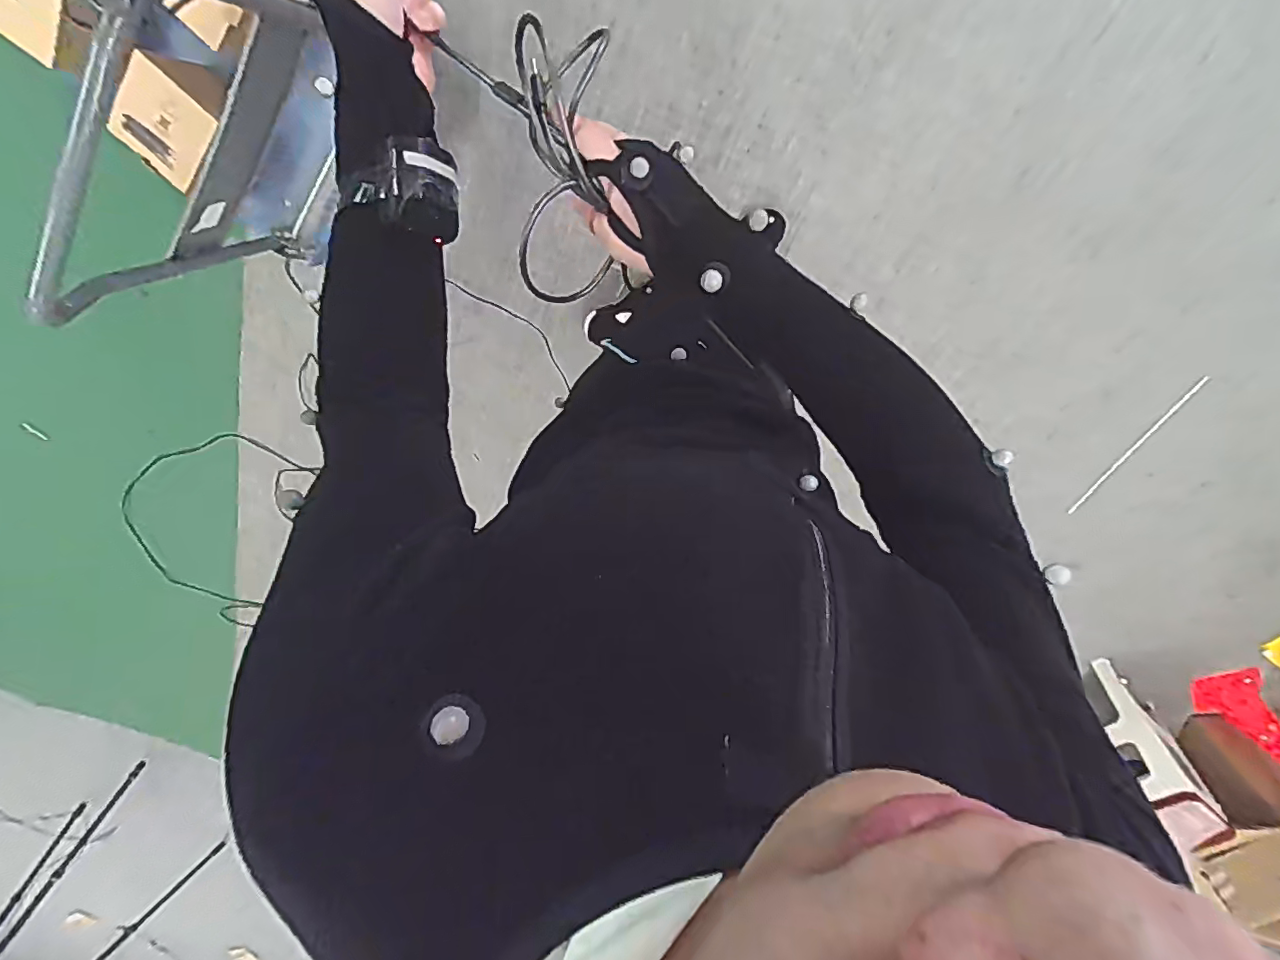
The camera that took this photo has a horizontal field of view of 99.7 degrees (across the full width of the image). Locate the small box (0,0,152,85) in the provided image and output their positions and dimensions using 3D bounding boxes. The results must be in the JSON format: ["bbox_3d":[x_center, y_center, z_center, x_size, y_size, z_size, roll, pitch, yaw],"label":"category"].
[{"bbox_3d":[-1.103,-0.899,1.037,0.179,0.176,0.168,37,116,-15],"label":"small box"}]

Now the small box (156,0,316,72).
[{"bbox_3d":[-0.755,-0.902,1.001,0.179,0.176,0.168,41,116,-18],"label":"small box"}]
